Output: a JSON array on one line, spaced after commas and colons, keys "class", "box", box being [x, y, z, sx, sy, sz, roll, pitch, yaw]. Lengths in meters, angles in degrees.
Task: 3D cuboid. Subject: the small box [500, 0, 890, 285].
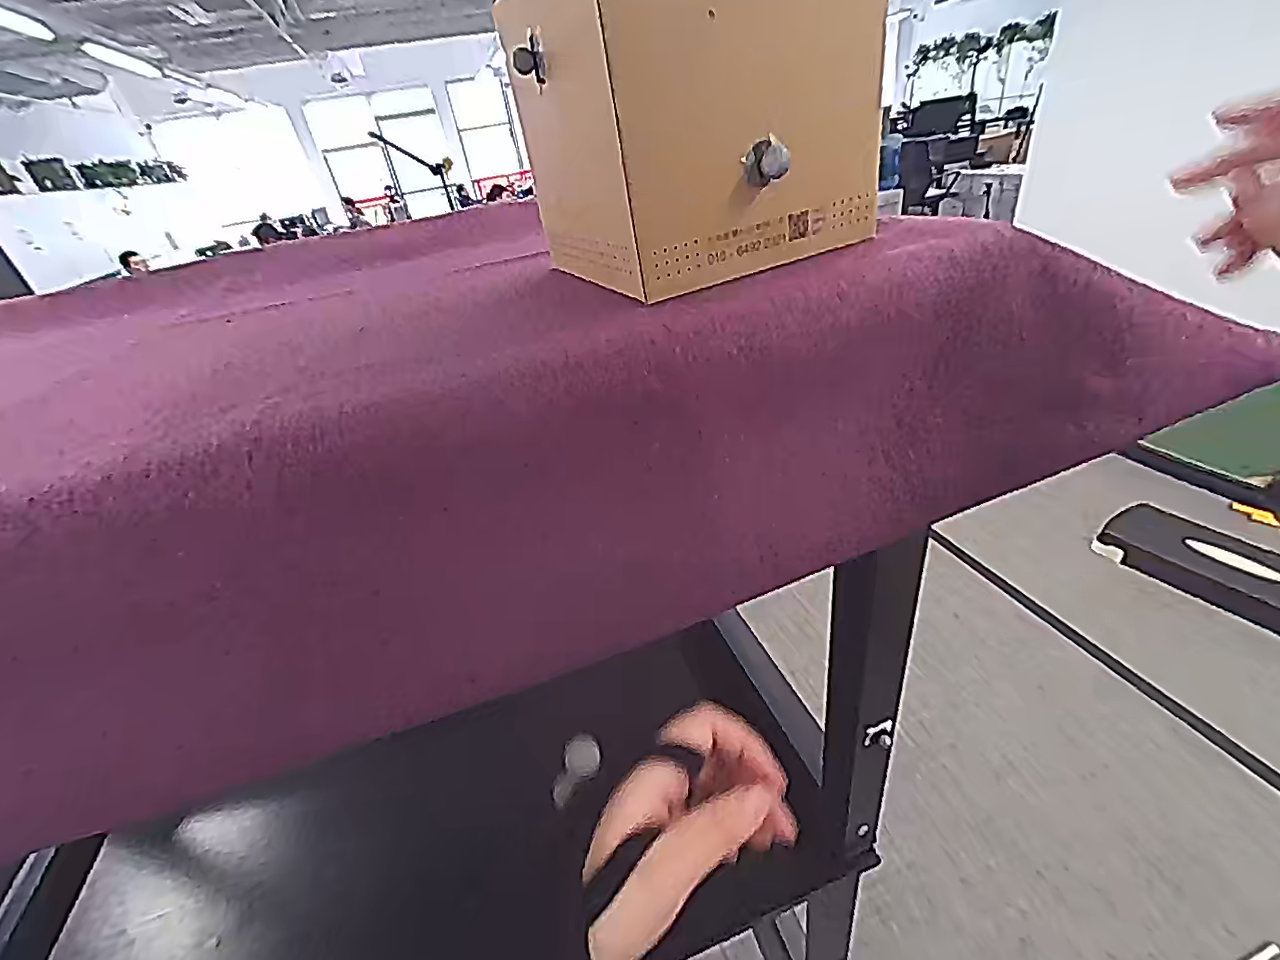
[{"class": "small box", "box": [0.028, -0.232, 0.343, 0.168, 0.176, 0.179, -22, 33, -17]}]
